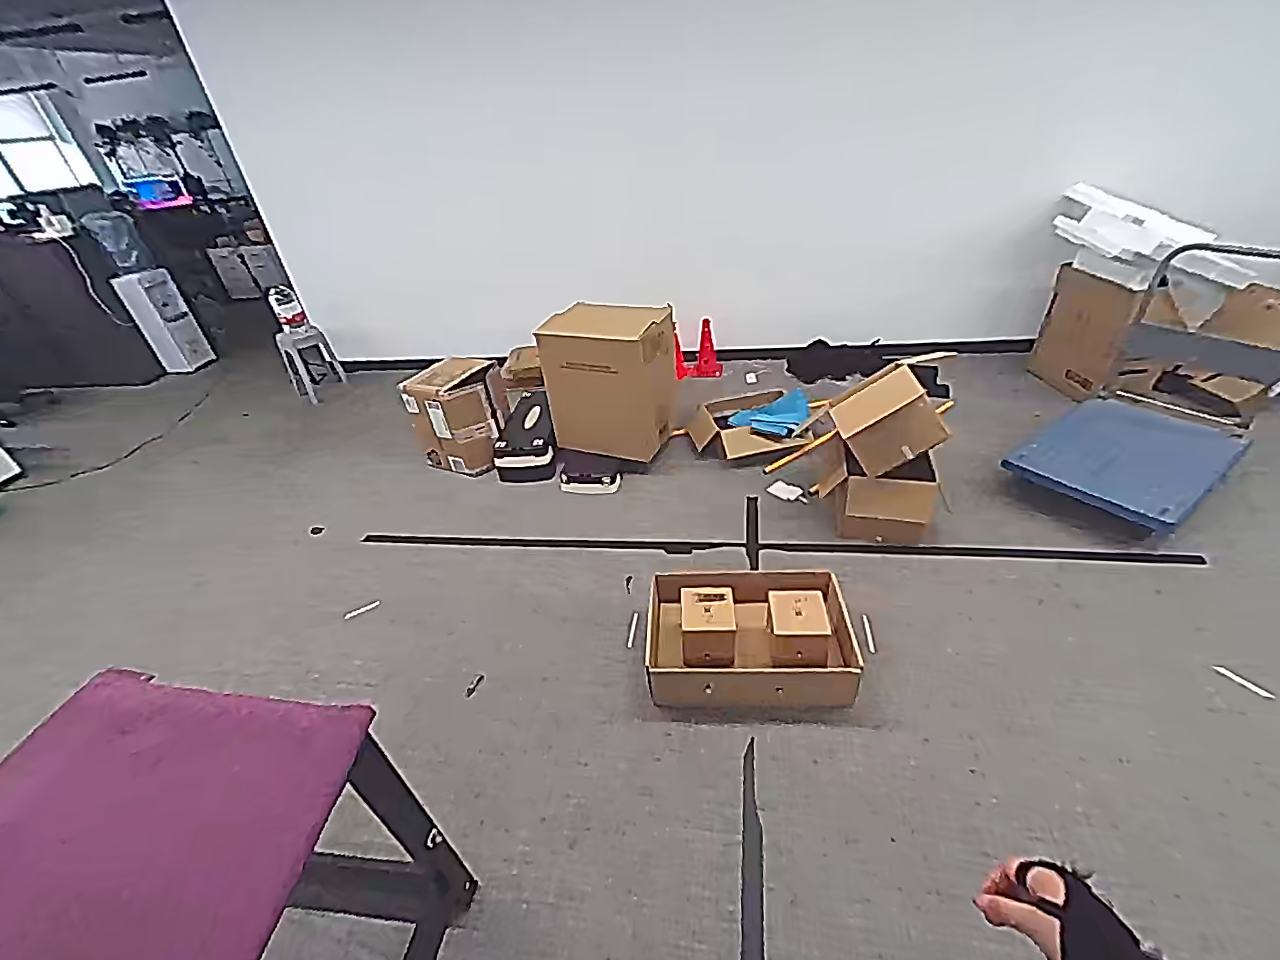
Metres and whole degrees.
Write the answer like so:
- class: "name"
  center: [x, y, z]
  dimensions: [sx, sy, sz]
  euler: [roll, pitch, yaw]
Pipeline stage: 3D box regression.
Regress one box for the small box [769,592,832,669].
- class: "small box"
  center: [0.497, 0.473, 1.693]
  dimensions: [0.168, 0.176, 0.179]
  euler: [-1, 34, 7]
